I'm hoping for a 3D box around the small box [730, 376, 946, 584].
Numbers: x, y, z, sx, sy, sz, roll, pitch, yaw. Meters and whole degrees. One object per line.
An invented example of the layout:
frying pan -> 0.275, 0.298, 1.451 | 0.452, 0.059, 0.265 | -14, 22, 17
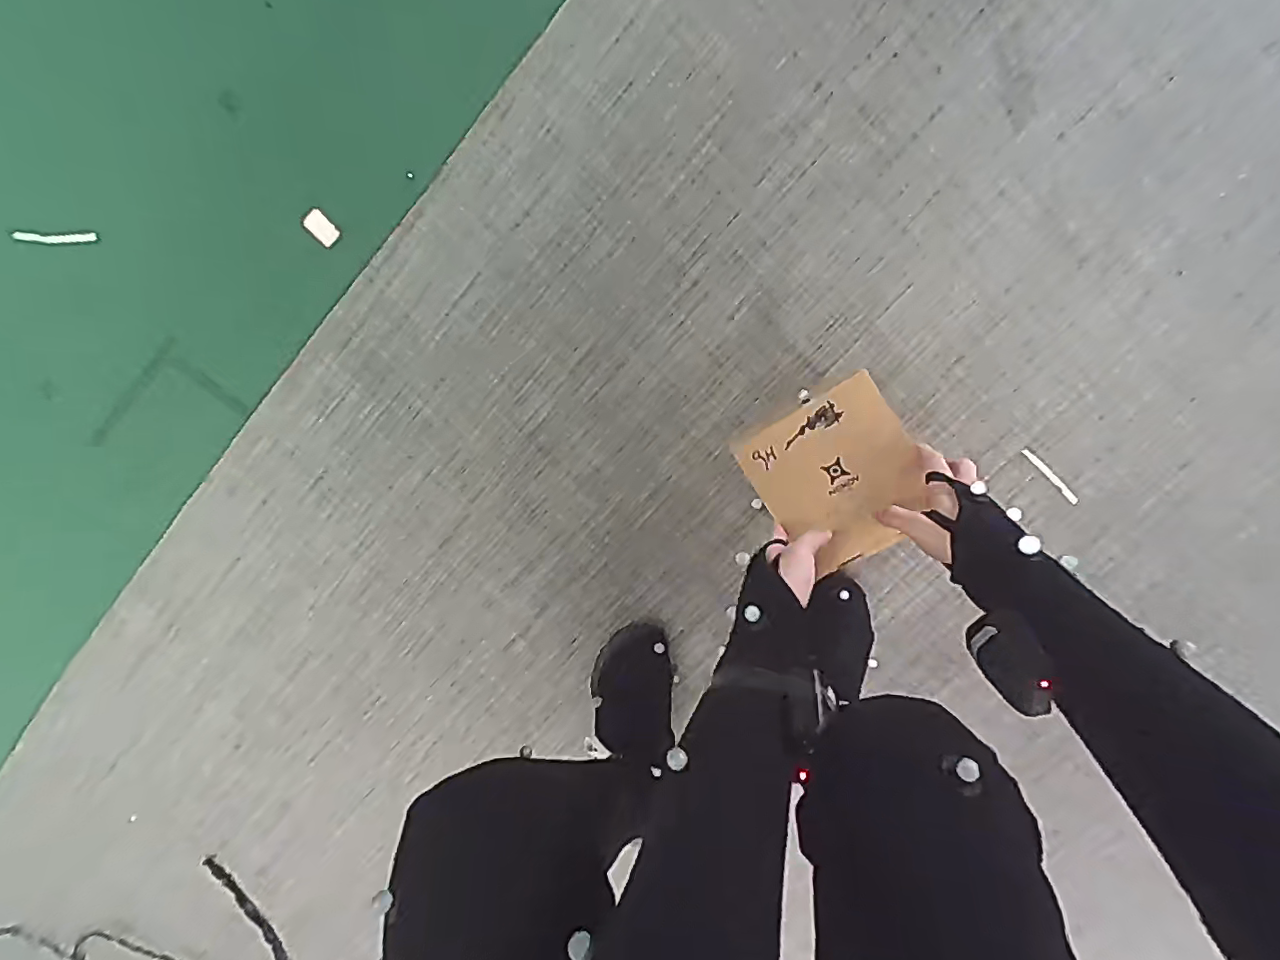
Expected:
small box -> 0.224, -0.007, 0.656 | 0.168, 0.176, 0.179 | -31, 91, 11
